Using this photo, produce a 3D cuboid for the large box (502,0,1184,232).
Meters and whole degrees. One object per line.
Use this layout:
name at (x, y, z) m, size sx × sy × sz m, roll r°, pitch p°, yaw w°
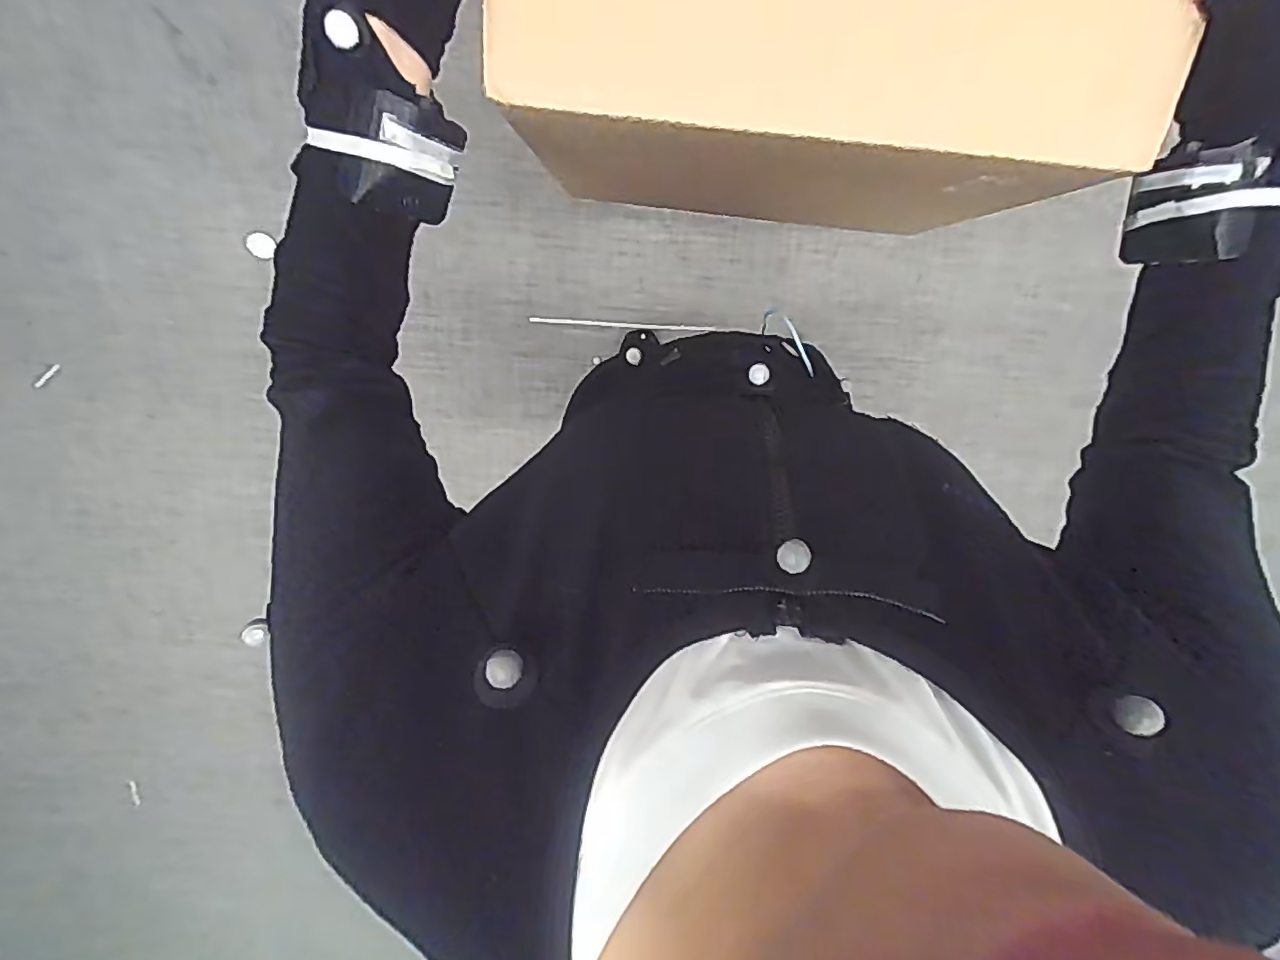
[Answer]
large box at (0.126, -0.402, 0.437) m, size 0.408 × 0.320 × 0.320 m, roll 6°, pitch 108°, yaw 0°
